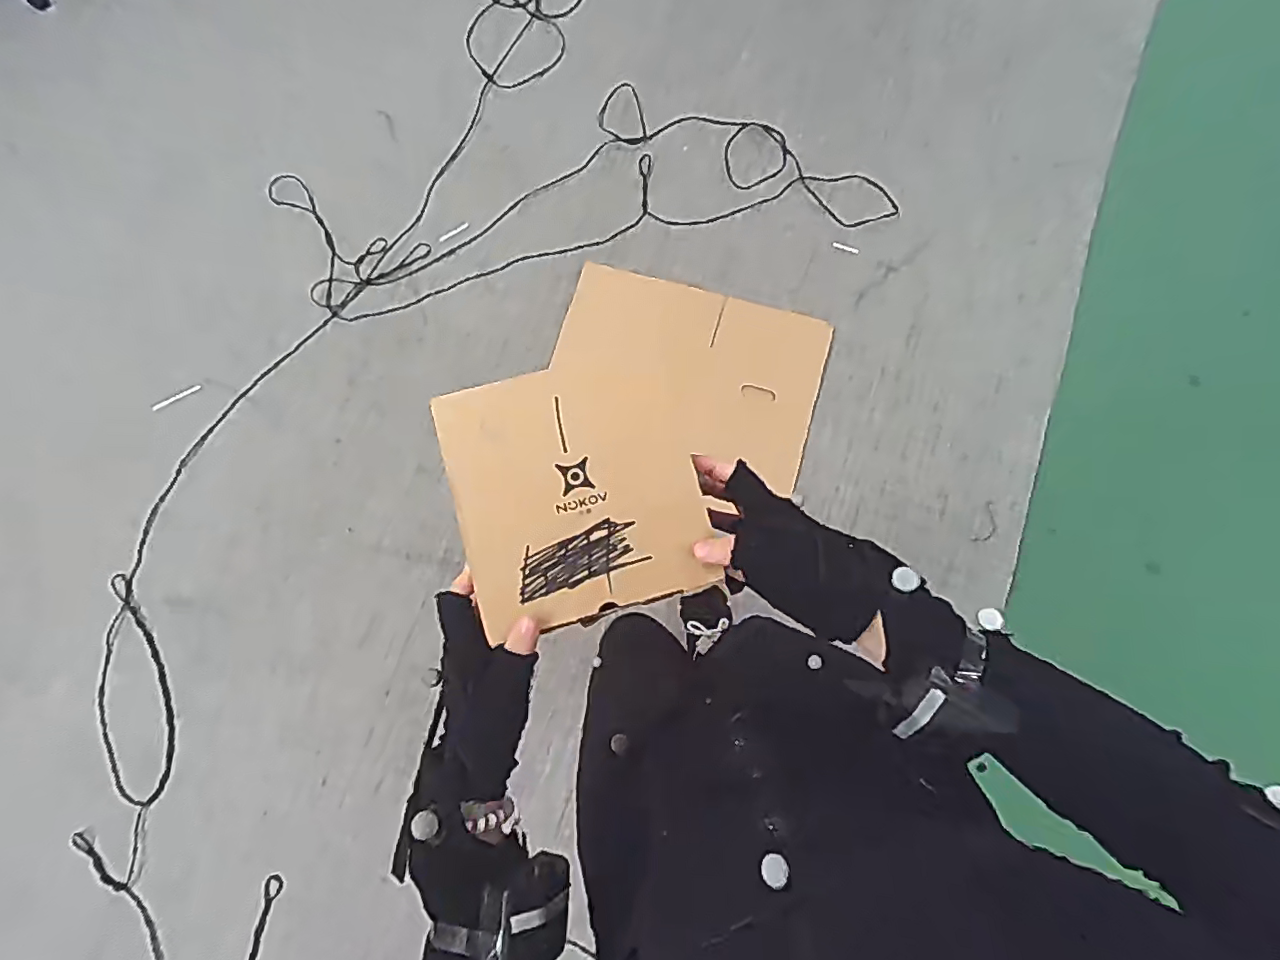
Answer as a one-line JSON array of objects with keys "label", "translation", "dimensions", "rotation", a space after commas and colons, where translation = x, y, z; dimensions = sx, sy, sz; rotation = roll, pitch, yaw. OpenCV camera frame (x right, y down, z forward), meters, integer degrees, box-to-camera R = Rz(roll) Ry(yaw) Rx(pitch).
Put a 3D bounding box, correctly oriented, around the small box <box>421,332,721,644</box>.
[{"label": "small box", "translation": [-0.047, 0.009, 0.449], "dimensions": [0.168, 0.176, 0.179], "rotation": [-21, 85, -2]}]
